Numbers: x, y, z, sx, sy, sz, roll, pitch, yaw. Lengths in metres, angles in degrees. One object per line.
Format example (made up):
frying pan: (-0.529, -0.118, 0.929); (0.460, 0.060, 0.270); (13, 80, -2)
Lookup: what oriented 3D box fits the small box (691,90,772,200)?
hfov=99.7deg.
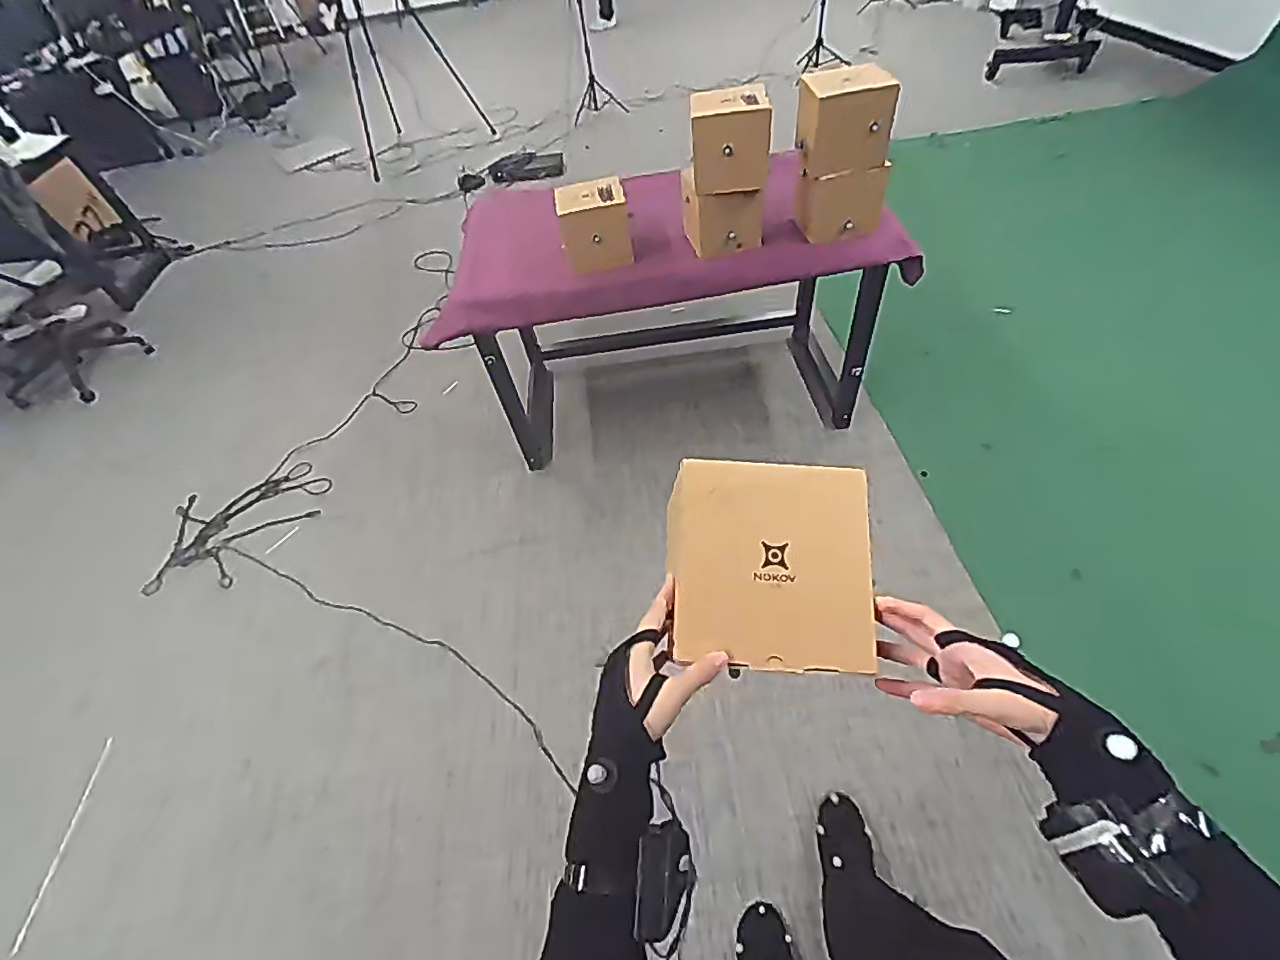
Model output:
small box: (0.213, -0.787, 1.278); (0.179, 0.176, 0.168); (-3, 50, 9)

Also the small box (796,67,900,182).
small box: (0.478, -0.832, 1.271); (0.179, 0.176, 0.168); (-8, 50, 5)

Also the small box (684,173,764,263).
small box: (0.216, -0.699, 1.420); (0.168, 0.176, 0.179); (-14, 50, -1)

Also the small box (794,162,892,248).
small box: (0.512, -0.725, 1.391); (0.179, 0.176, 0.168); (-12, 50, 0)
